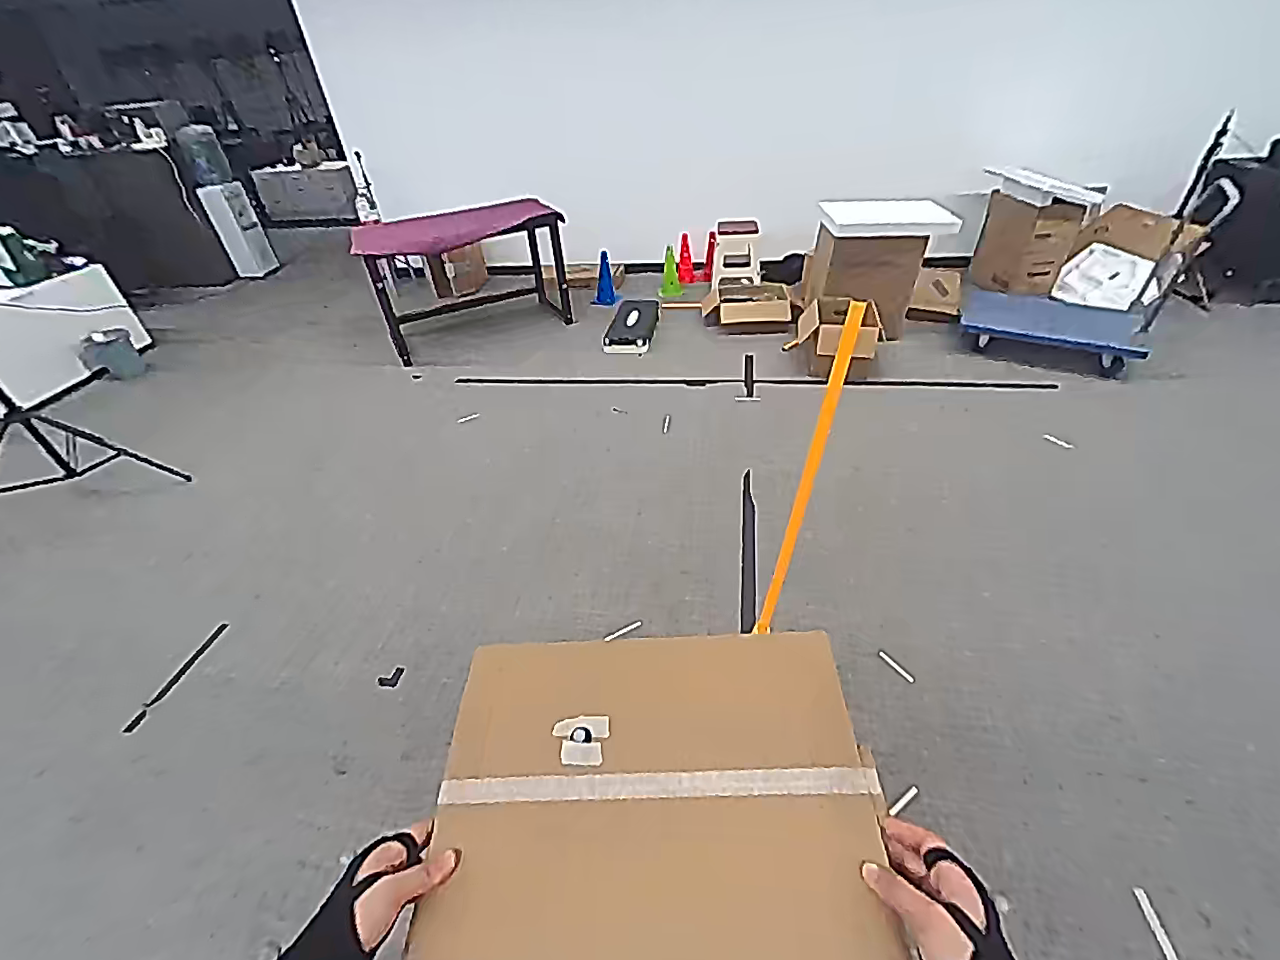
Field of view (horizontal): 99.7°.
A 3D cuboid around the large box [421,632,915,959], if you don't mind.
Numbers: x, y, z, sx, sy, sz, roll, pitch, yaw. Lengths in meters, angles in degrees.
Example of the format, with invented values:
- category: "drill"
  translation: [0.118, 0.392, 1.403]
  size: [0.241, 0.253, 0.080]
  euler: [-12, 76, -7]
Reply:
- category: "large box"
  translation: [0.034, 0.403, 0.622]
  size: [0.408, 0.320, 0.320]
  euler: [-6, 43, 6]
